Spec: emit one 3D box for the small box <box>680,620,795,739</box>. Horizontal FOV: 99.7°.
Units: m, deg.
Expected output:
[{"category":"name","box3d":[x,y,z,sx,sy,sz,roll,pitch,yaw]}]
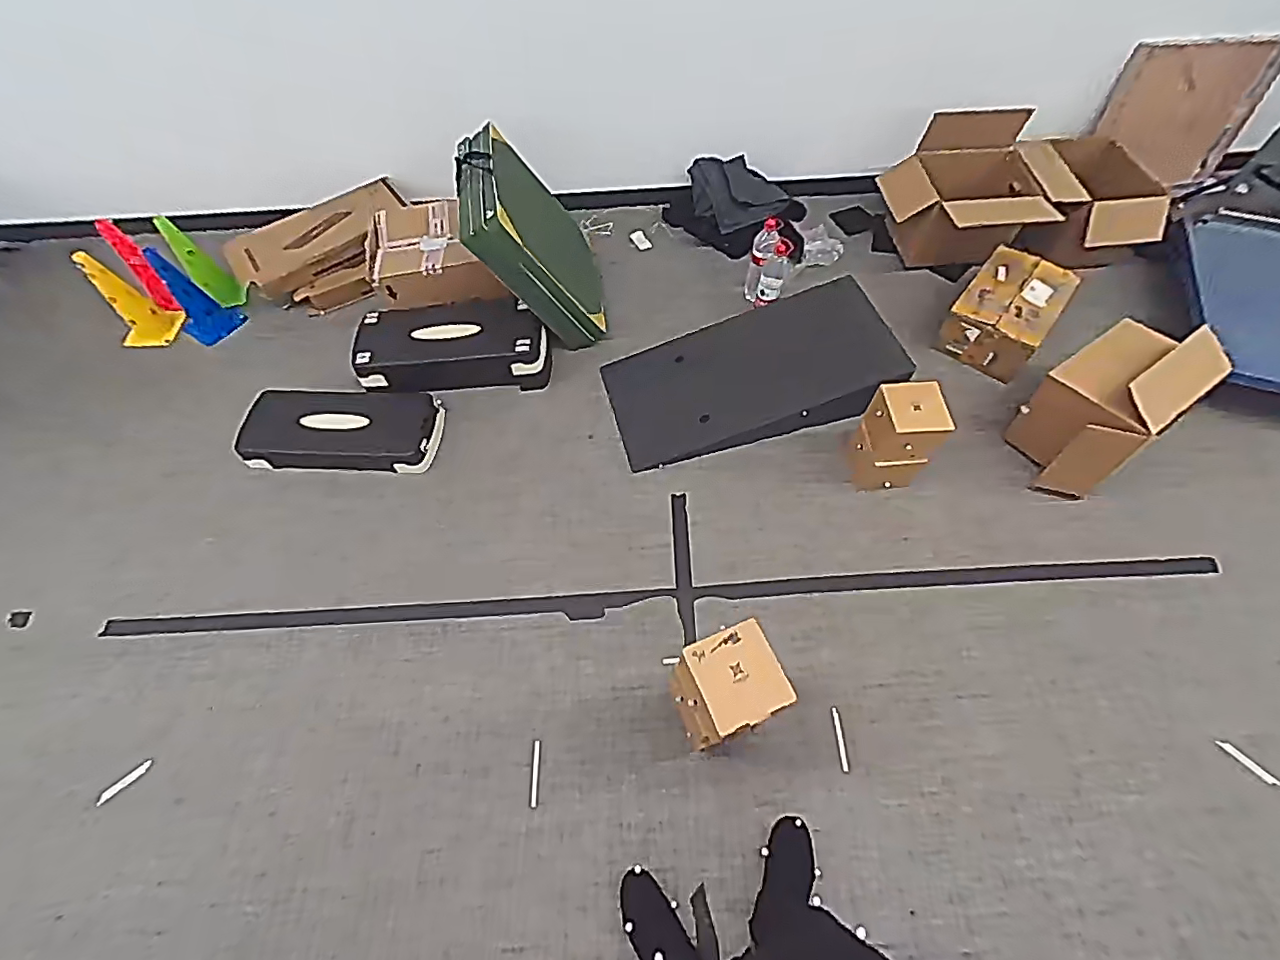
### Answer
[{"category":"small box","box3d":[0.191,0.417,1.116,0.168,0.176,0.179,-20,62,-10]}]
